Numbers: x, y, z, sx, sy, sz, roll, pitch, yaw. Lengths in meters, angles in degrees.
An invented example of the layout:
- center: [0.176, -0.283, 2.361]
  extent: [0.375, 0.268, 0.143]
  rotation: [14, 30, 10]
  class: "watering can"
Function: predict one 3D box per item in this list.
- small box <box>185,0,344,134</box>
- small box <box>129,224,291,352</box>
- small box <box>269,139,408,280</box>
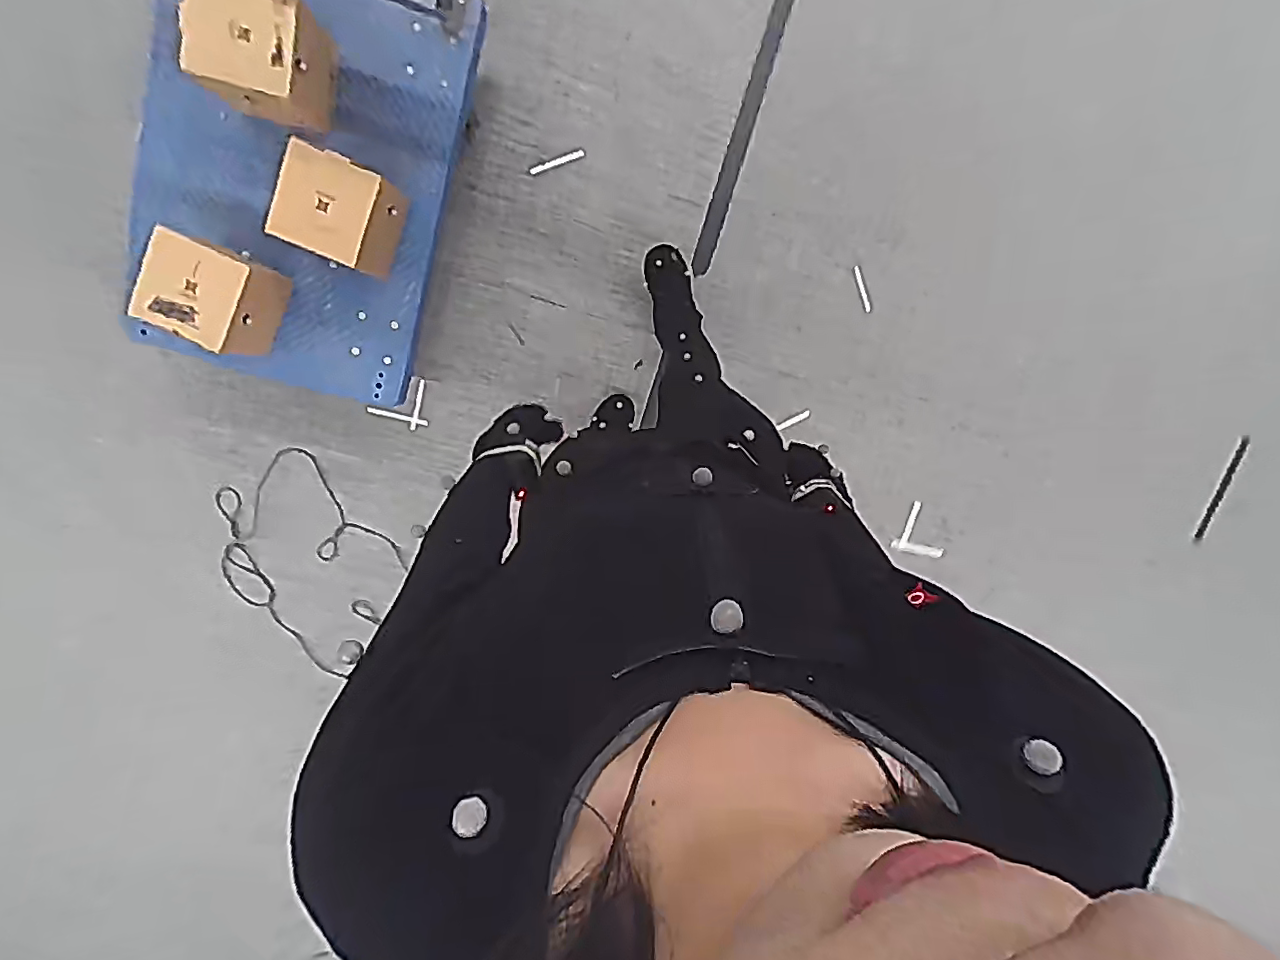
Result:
- center: [-0.684, -0.777, 1.000]
  extent: [0.179, 0.176, 0.168]
  rotation: [12, 101, -8]
  class: "small box"
- center: [-0.836, -0.365, 1.071]
  extent: [0.168, 0.176, 0.179]
  rotation: [25, 97, -11]
  class: "small box"
- center: [-0.582, -0.520, 1.069]
  extent: [0.168, 0.176, 0.179]
  rotation: [22, 100, -9]
  class: "small box"
